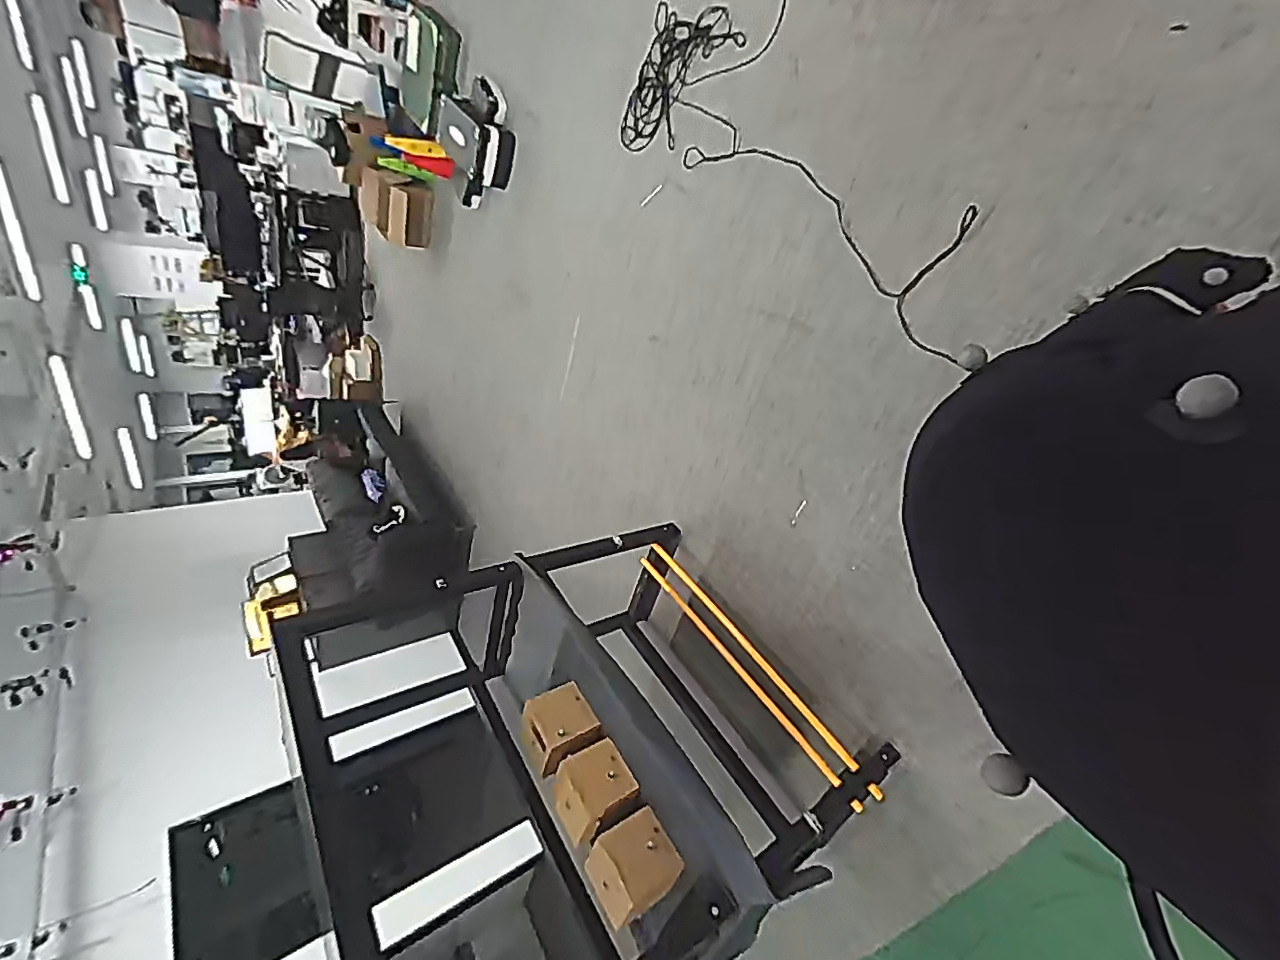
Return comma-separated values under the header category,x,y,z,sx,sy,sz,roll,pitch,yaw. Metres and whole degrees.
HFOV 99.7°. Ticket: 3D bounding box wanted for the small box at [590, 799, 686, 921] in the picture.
category,x,y,z,sx,sy,sz,roll,pitch,yaw
small box,-0.005,0.978,1.403,0.168,0.176,0.179,44,131,37
